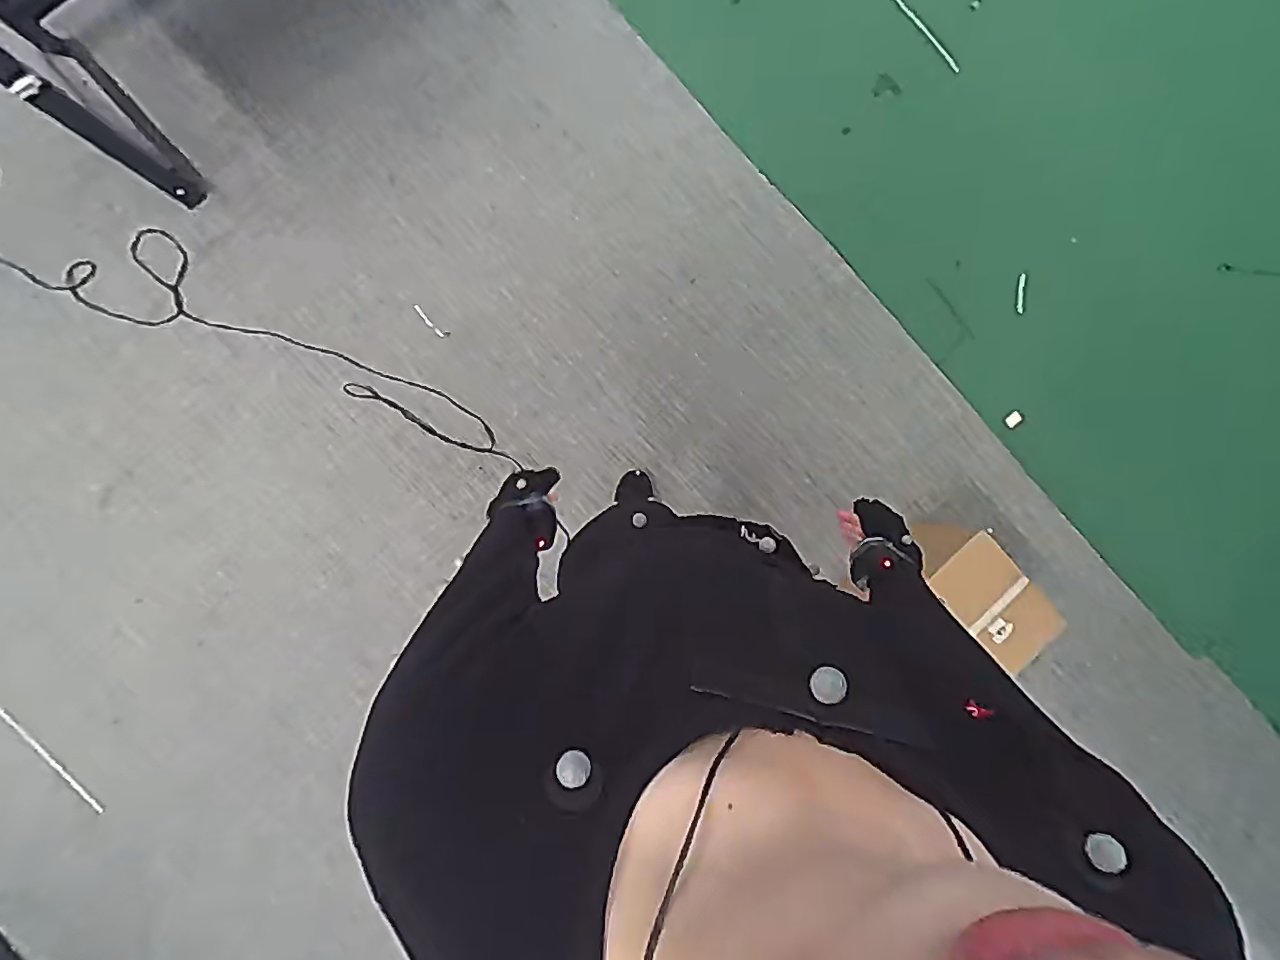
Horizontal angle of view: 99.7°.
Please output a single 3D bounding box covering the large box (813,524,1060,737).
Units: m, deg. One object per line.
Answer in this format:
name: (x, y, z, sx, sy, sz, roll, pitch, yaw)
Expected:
large box: (0.739, 0.359, 1.406, 0.408, 0.320, 0.320, -42, 92, -5)
